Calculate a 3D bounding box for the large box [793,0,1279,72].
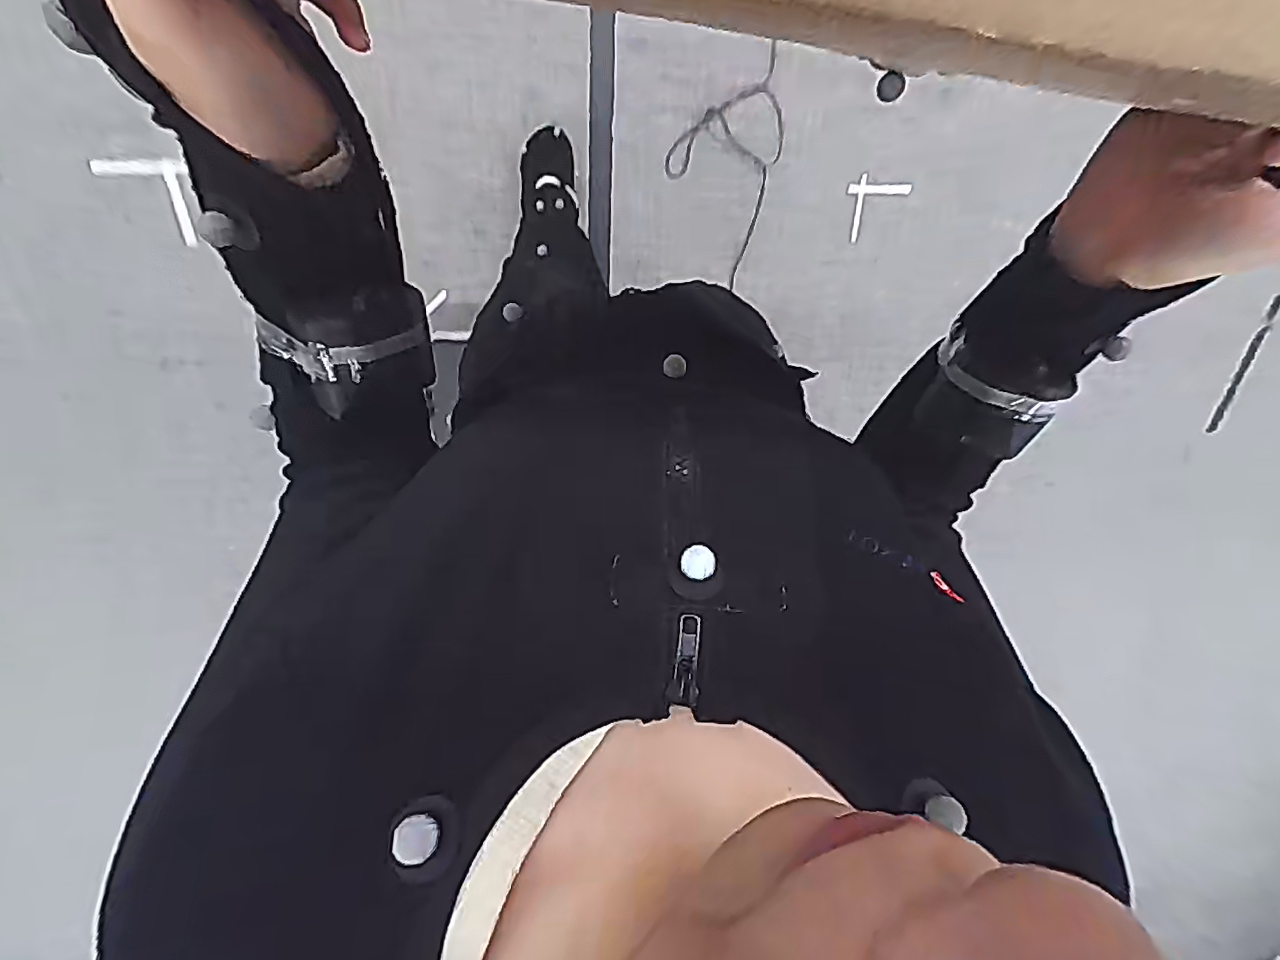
[{"bbox_3d":[0.076,-0.303,0.101,0.408,0.320,0.320,4,131,-6],"label":"large box"}]
